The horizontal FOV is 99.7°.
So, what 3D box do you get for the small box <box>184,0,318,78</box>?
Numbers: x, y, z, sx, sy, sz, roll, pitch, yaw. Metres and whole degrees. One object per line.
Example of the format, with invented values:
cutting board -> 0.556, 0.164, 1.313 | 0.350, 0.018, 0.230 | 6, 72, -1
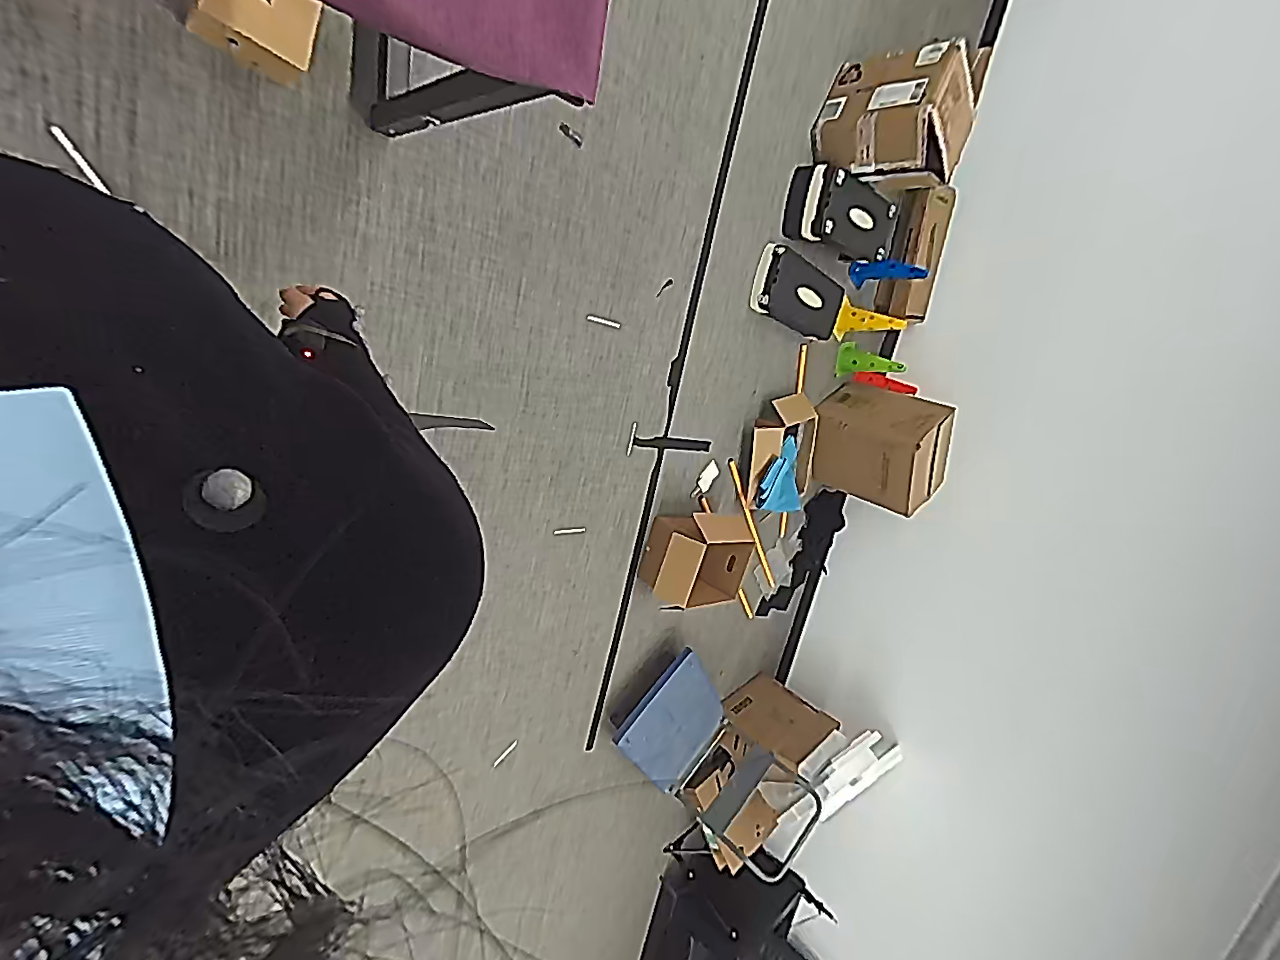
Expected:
small box -> -0.719, -0.891, 1.001 | 0.168, 0.176, 0.179 | 10, 100, -48
